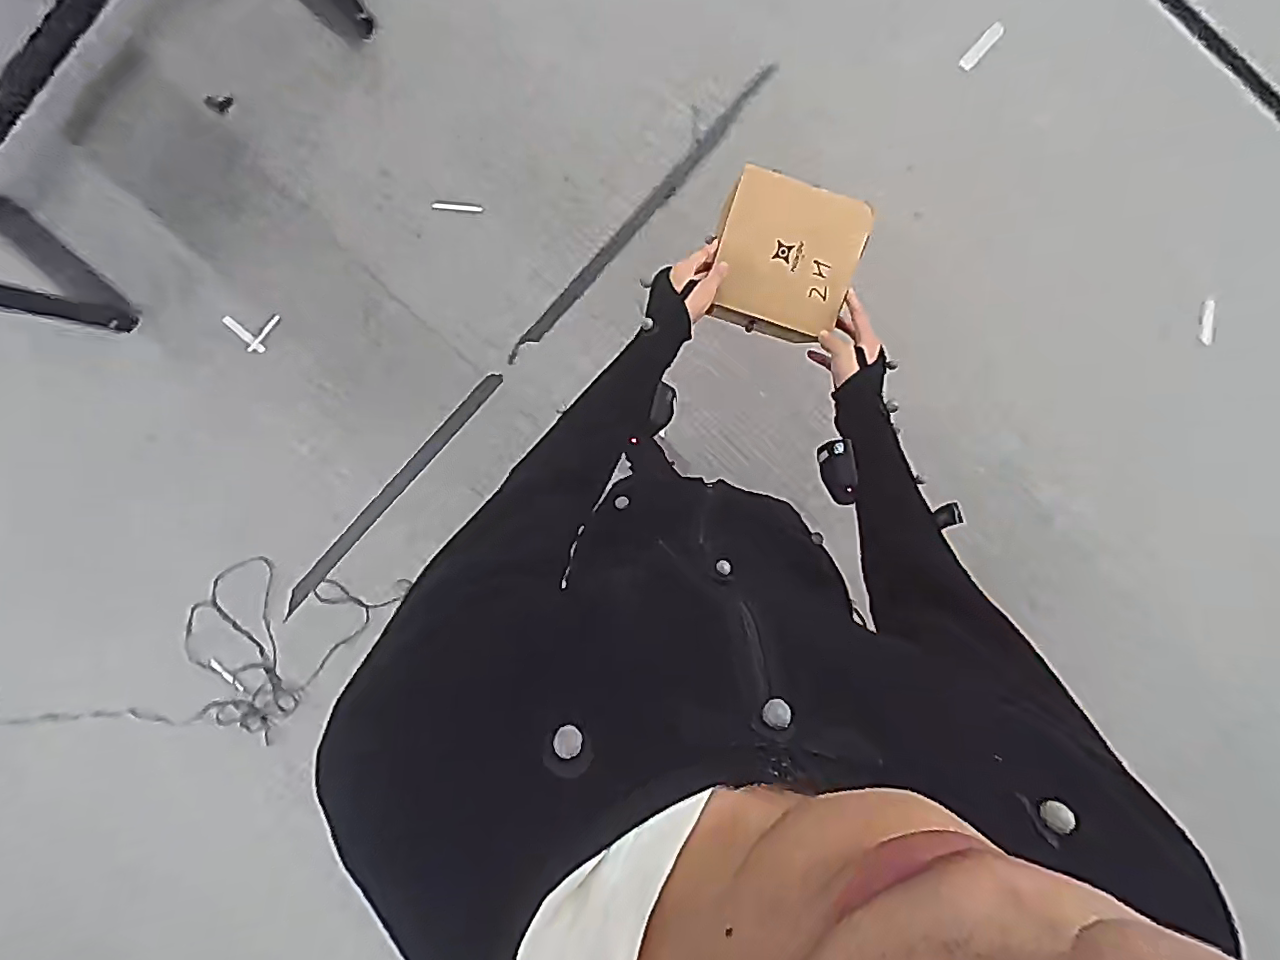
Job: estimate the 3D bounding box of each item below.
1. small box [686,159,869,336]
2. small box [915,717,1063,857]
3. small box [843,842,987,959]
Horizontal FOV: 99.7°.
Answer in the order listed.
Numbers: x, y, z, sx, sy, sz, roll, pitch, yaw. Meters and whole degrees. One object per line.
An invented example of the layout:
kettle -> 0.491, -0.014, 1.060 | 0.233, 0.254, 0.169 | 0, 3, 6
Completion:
small box -> 0.170, -0.298, 0.737 | 0.179, 0.176, 0.168 | 16, 103, -4
small box -> 0.740, 0.647, 1.169 | 0.168, 0.176, 0.179 | -39, 94, 5
small box -> 0.513, 0.850, 1.028 | 0.179, 0.176, 0.168 | -40, 94, 6
